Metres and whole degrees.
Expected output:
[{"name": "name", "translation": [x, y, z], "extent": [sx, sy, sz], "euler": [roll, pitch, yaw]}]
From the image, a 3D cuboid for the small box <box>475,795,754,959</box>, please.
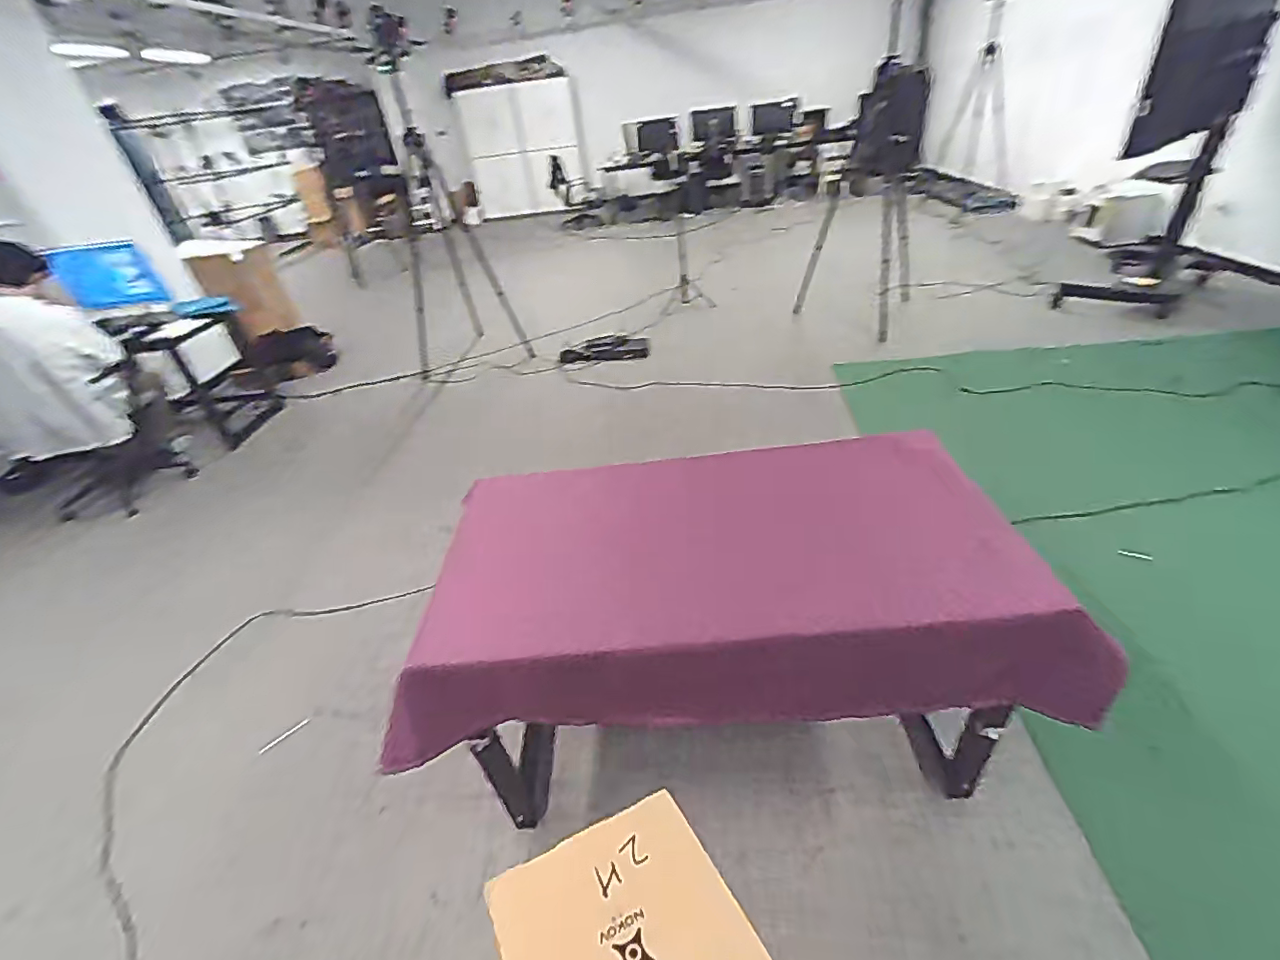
[{"name": "small box", "translation": [-0.018, 0.405, 0.421], "extent": [0.168, 0.176, 0.179], "euler": [-13, 28, -27]}]
